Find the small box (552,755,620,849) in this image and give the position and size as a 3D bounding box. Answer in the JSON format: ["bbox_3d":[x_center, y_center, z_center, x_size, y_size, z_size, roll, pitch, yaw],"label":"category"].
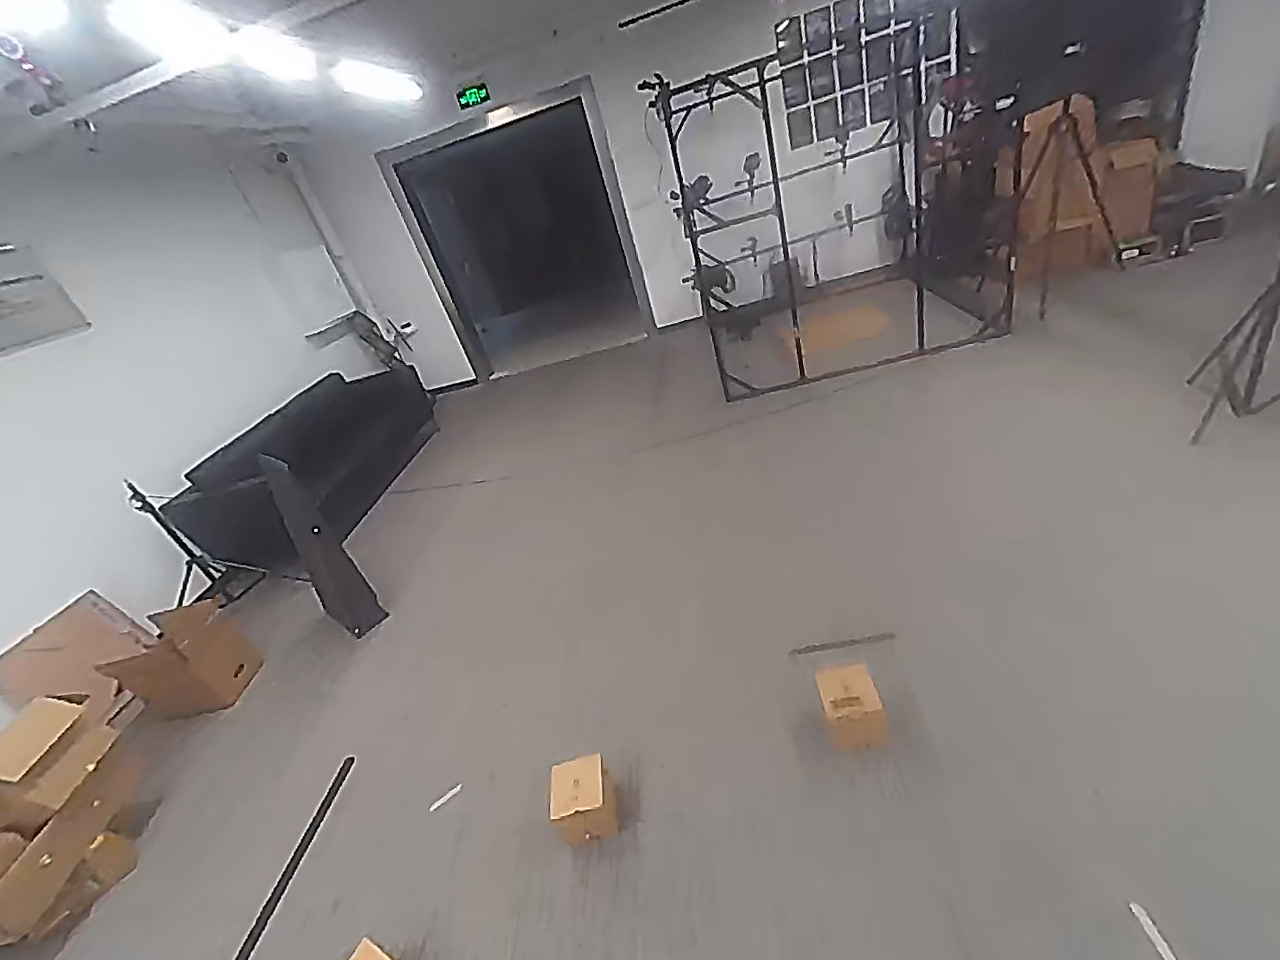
[{"bbox_3d":[-0.167,1.009,1.696,0.168,0.176,0.179,-17,29,2],"label":"small box"}]

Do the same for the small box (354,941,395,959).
[{"bbox_3d":[-0.675,1.353,1.391,0.179,0.176,0.168,2,35,33],"label":"small box"}]
